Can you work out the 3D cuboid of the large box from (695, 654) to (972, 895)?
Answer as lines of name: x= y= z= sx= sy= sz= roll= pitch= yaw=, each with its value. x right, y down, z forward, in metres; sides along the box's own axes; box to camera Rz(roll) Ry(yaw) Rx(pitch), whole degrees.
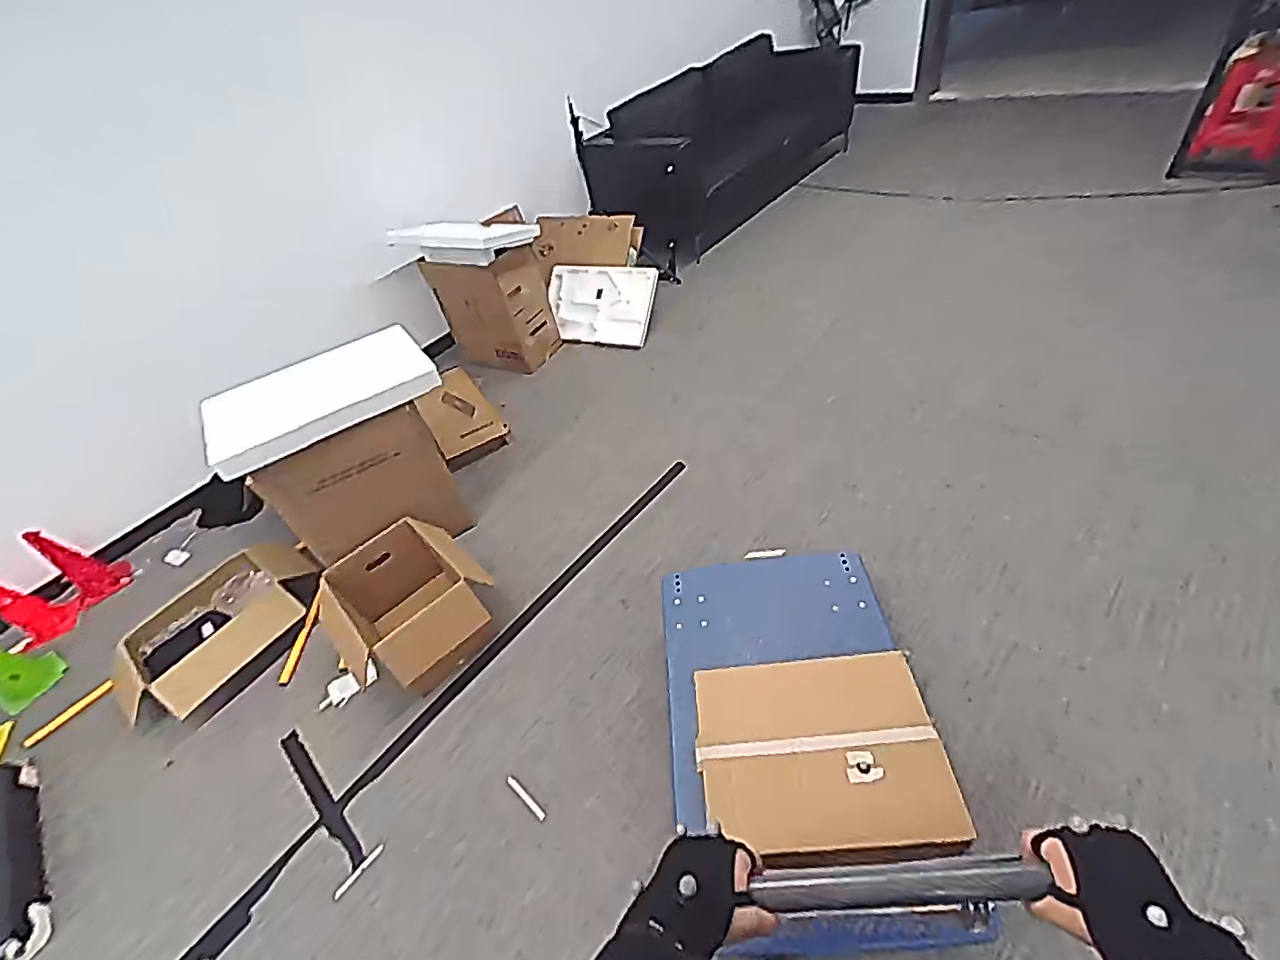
large box: x=0.332 y=0.574 z=1.049 sx=0.408 sy=0.320 sz=0.320 roll=-8 pitch=44 yaw=6
